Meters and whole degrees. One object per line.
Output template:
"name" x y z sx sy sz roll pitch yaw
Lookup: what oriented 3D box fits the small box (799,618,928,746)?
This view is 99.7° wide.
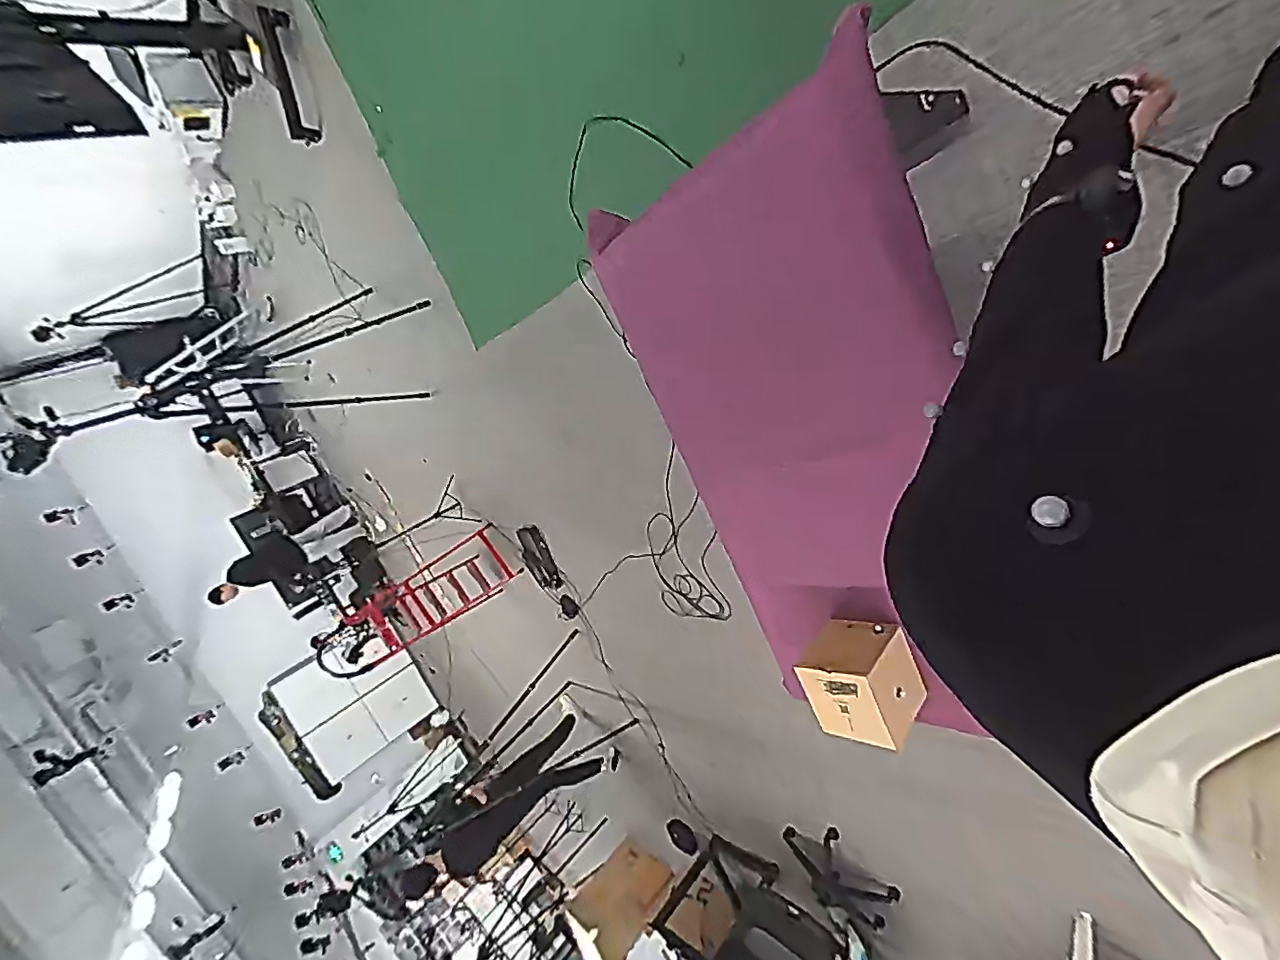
"small box" 0.469 0.409 1.129 0.168 0.176 0.179 -12 108 52
